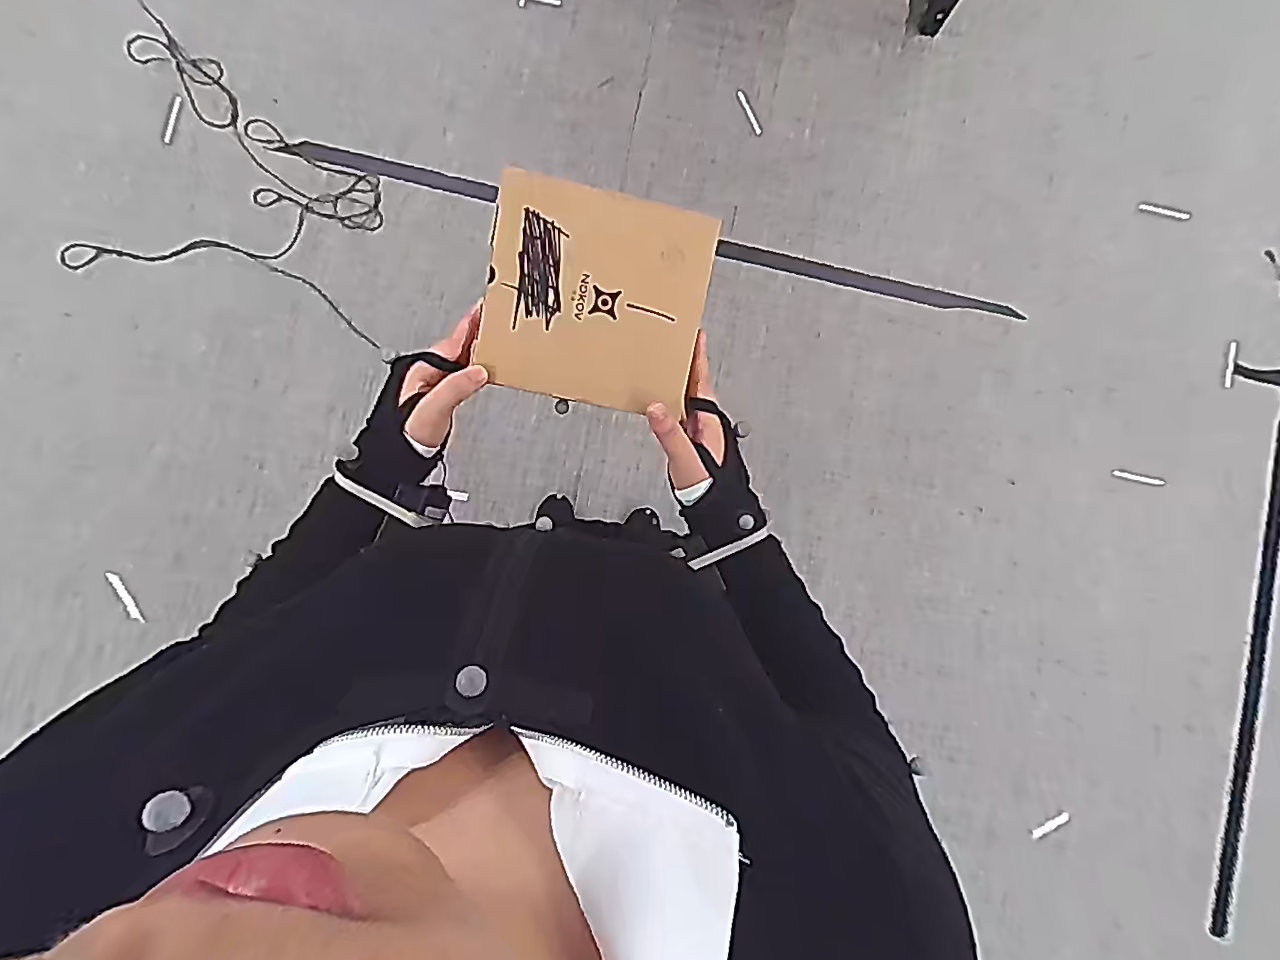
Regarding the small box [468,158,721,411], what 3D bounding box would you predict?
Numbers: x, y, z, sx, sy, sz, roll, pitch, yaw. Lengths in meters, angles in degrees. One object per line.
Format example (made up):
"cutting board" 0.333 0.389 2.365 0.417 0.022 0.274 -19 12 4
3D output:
"small box" -0.042 -0.162 0.507 0.179 0.176 0.168 11 97 -6
